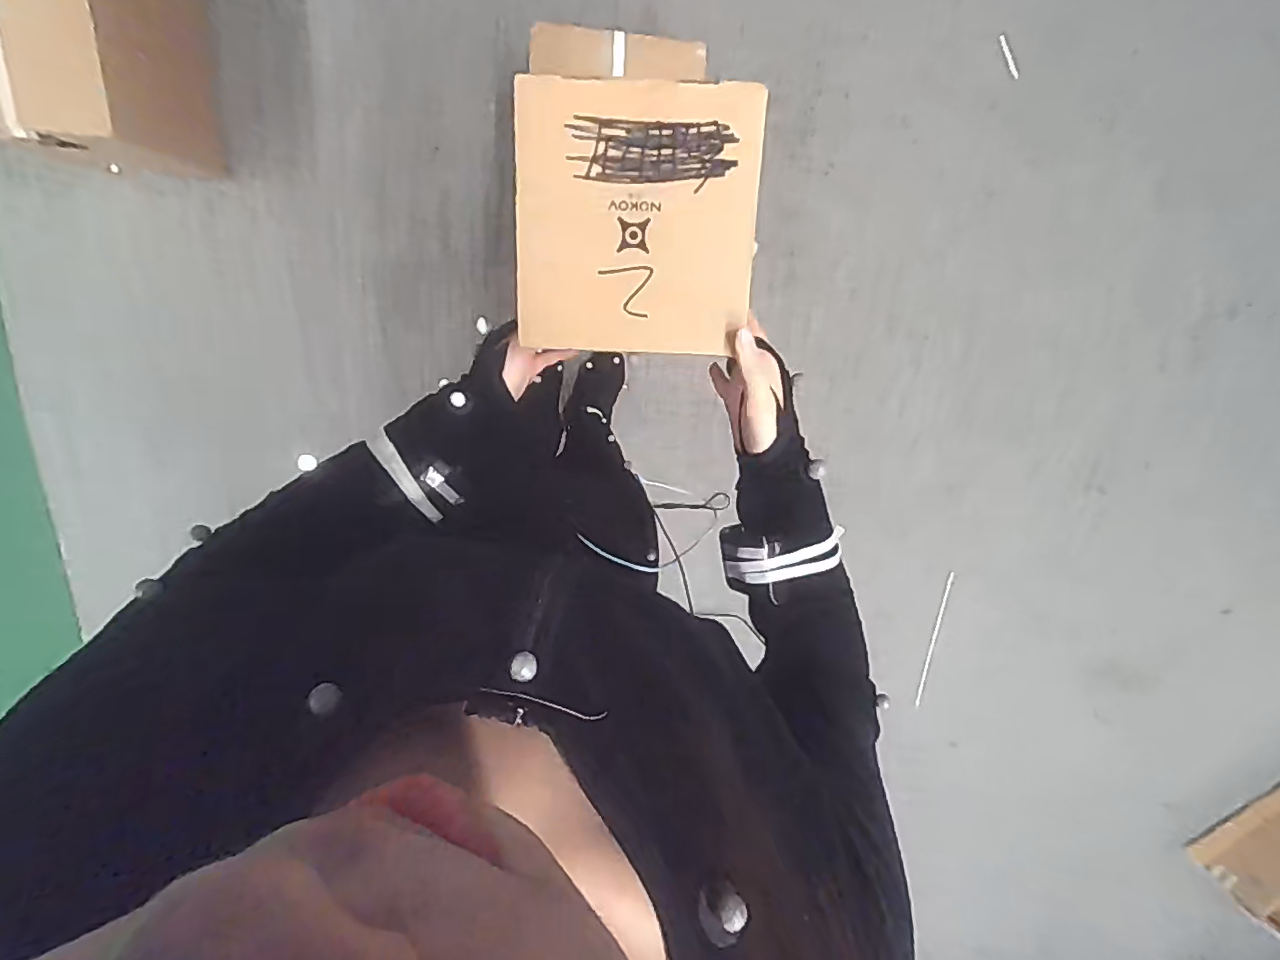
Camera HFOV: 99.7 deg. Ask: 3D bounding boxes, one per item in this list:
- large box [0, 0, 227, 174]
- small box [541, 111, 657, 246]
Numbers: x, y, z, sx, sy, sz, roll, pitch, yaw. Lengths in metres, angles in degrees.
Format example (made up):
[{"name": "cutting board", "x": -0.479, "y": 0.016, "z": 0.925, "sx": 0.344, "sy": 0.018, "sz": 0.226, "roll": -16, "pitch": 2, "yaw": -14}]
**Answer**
[{"name": "large box", "x": -1.051, "y": -0.834, "z": 1.003, "sx": 0.320, "sy": 0.320, "sz": 0.408, "roll": 3, "pitch": 106, "yaw": -4}, {"name": "small box", "x": -0.068, "y": -0.499, "z": 0.920, "sx": 0.179, "sy": 0.176, "sz": 0.168, "roll": 3, "pitch": 107, "yaw": -2}]
